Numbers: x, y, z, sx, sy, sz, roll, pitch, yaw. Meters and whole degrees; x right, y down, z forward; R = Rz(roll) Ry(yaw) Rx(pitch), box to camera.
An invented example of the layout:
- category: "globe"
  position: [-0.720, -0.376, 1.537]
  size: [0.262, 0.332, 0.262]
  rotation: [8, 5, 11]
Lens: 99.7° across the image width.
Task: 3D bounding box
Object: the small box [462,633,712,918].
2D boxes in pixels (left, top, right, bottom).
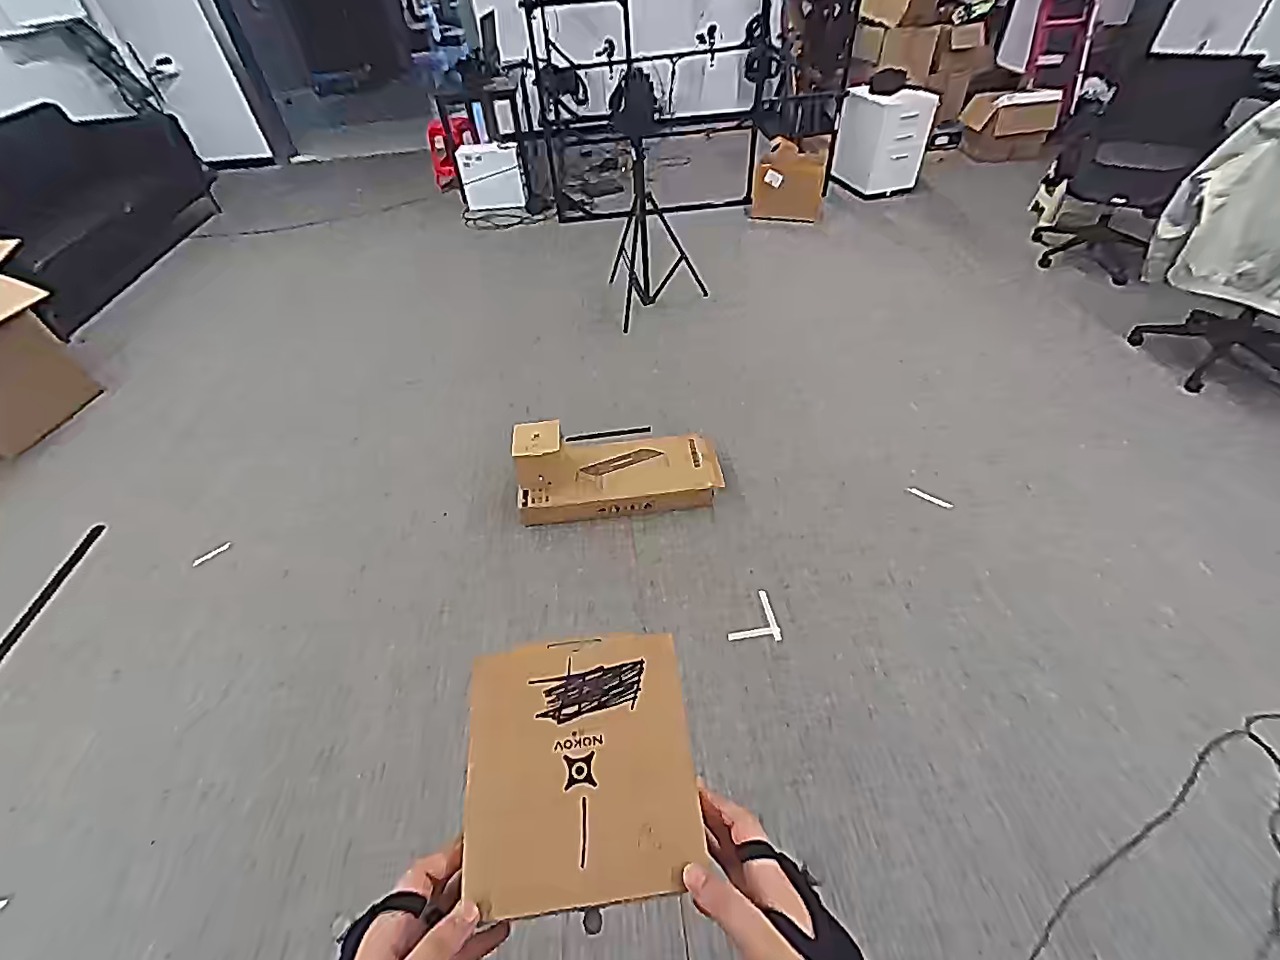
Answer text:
- category: "small box"
  position: [-0.042, 0.253, 0.463]
  size: [0.168, 0.176, 0.179]
  rotation: [-6, 53, -4]

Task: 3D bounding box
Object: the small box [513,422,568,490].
- category: "small box"
  position: [-0.356, -0.086, 1.954]
  size: [0.168, 0.176, 0.179]
  rotation: [-7, 45, -2]
